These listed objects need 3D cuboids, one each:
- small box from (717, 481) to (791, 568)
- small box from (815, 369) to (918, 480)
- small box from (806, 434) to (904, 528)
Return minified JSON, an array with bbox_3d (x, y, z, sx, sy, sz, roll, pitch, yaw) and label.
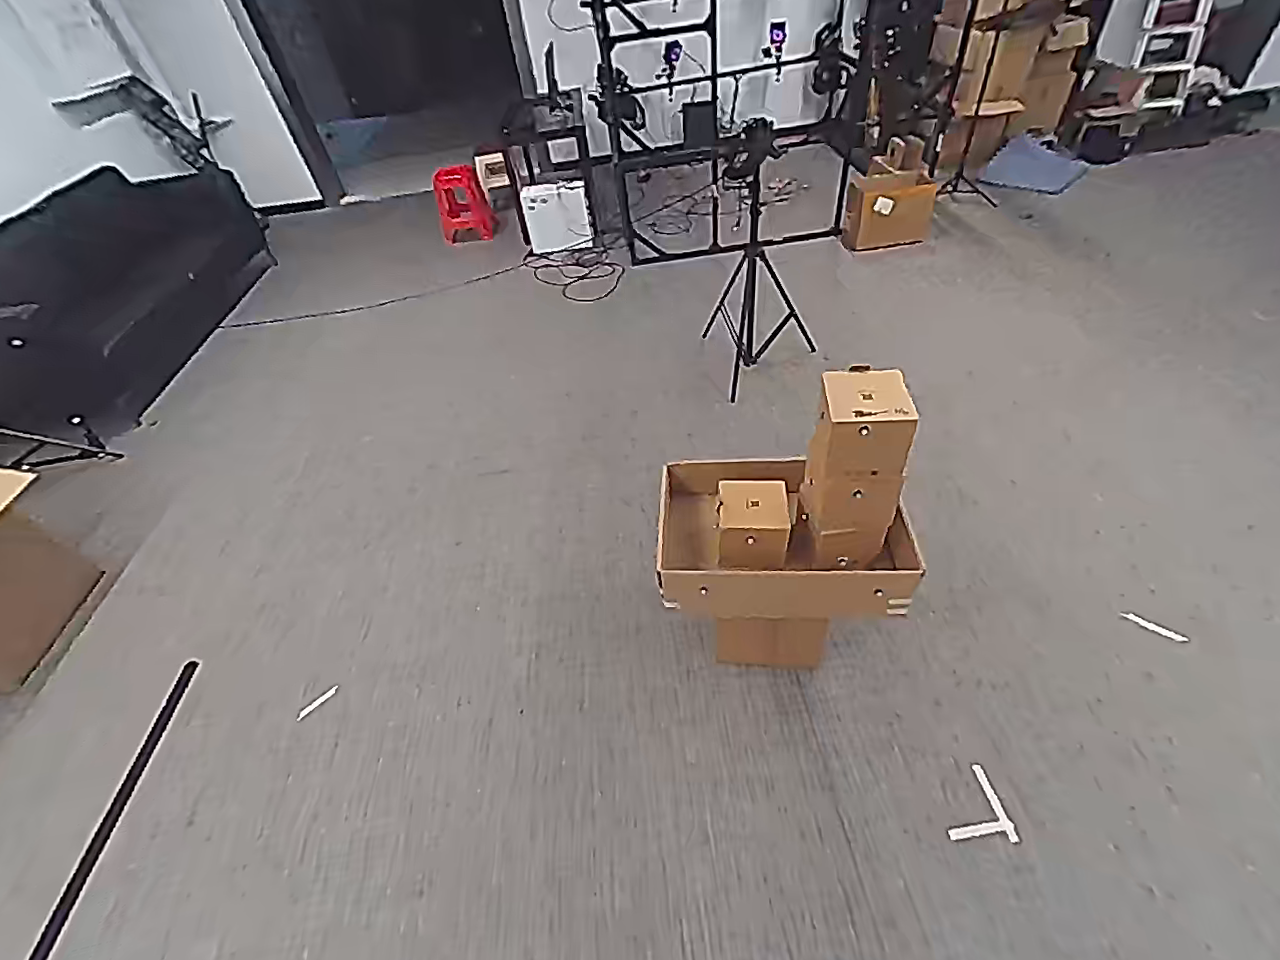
[{"bbox_3d":[0.294,0.120,1.425,0.179,0.176,0.168,-1,45,8],"label":"small box"},{"bbox_3d":[0.475,-0.119,1.164,0.168,0.176,0.179,-1,44,11],"label":"small box"},{"bbox_3d":[0.495,-0.001,1.277,0.179,0.176,0.168,-5,45,6],"label":"small box"}]
